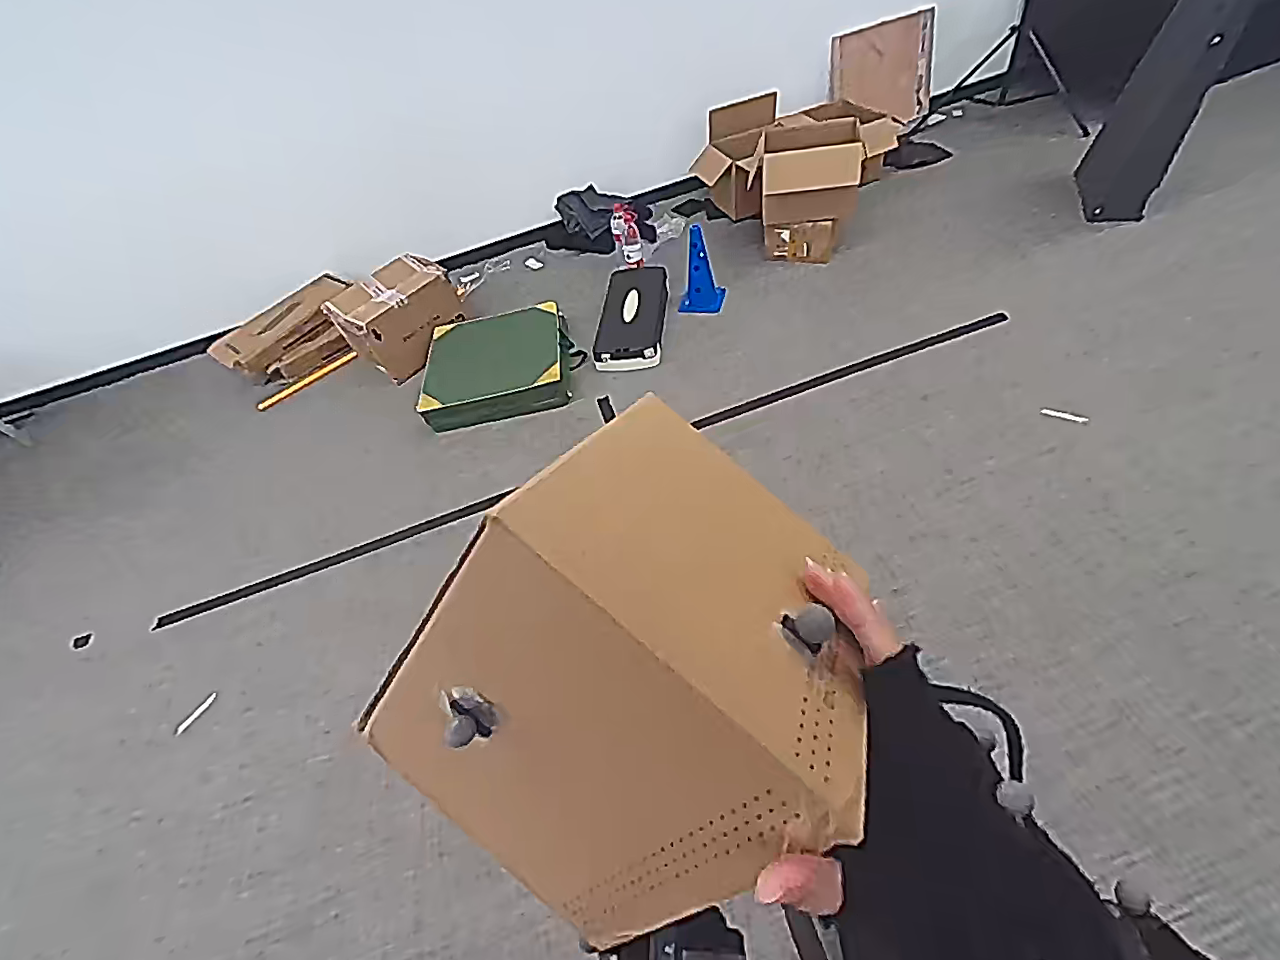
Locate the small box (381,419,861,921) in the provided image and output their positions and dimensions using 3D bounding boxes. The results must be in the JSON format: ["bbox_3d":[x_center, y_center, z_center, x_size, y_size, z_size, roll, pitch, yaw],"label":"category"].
[{"bbox_3d":[-0.002,0.101,0.309,0.176,0.179,0.168,40,31,1],"label":"small box"}]
